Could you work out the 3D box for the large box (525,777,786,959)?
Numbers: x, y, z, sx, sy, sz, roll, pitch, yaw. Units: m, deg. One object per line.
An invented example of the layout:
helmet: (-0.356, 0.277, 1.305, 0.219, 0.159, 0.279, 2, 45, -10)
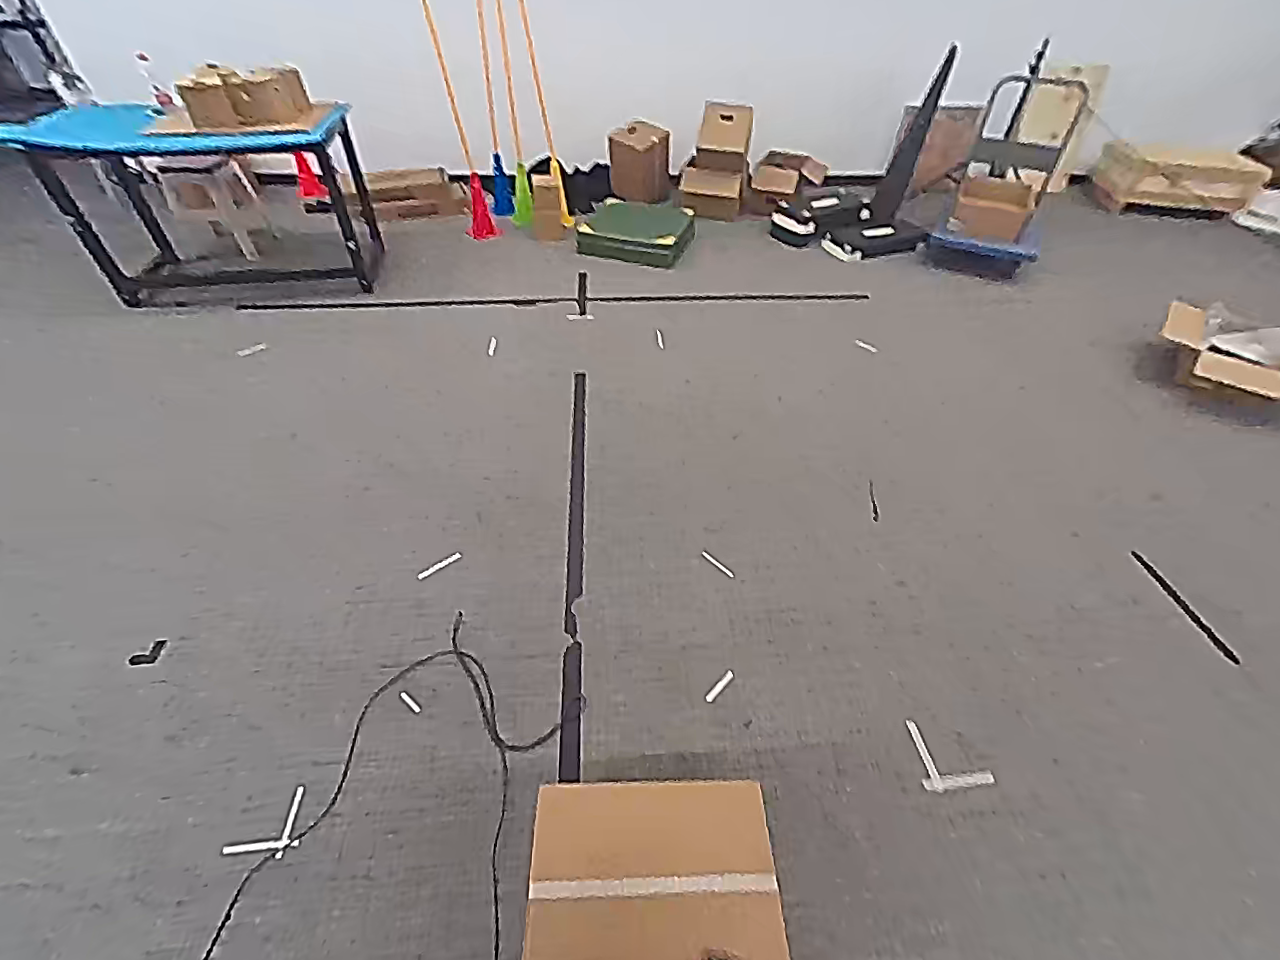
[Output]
large box: (0.014, 0.765, 0.985, 0.408, 0.320, 0.320, 0, 45, -2)
